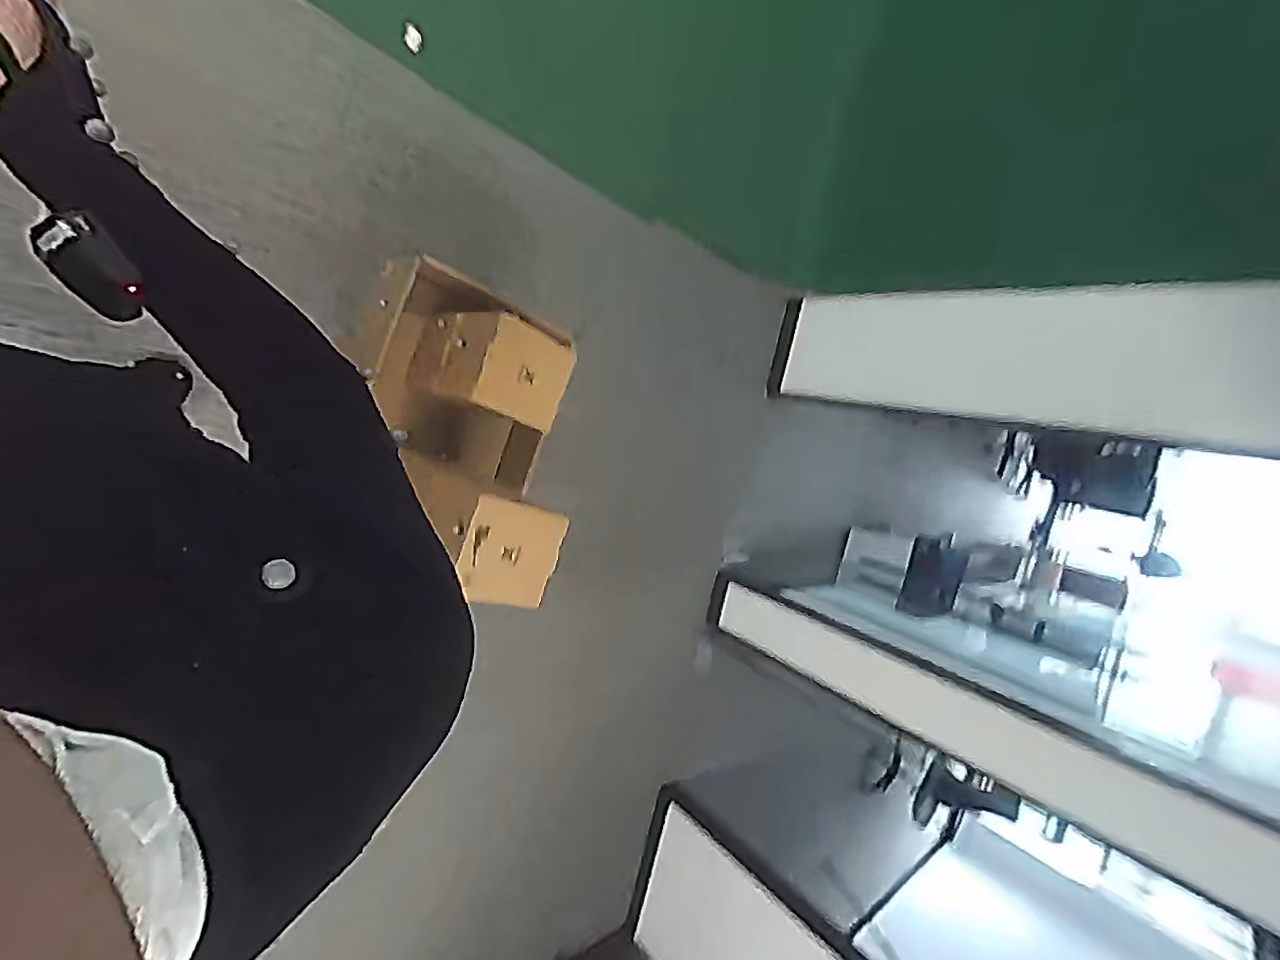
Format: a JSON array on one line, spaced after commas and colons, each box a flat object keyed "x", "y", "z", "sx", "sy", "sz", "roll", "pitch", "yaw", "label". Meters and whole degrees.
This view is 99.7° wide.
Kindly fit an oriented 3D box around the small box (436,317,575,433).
[{"x": -0.264, "y": -0.209, "z": 1.058, "sx": 0.179, "sy": 0.176, "sz": 0.168, "roll": 22, "pitch": 88, "yaw": -43, "label": "small box"}]

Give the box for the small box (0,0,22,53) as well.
[{"x": -0.540, "y": -0.445, "z": 0.353, "sx": 0.168, "sy": 0.176, "sz": 0.179, "roll": -1, "pitch": 96, "yaw": -43, "label": "small box"}]

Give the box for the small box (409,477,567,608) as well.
[{"x": -0.263, "y": 0.104, "z": 0.928, "sx": 0.179, "sy": 0.176, "sz": 0.168, "roll": 22, "pitch": 87, "yaw": -44, "label": "small box"}]

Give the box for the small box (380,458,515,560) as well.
[{"x": -0.369, "y": 0.066, "z": 1.047, "sx": 0.179, "sy": 0.176, "sz": 0.168, "roll": 22, "pitch": 87, "yaw": -43, "label": "small box"}]

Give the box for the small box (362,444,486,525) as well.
[{"x": -0.472, "y": 0.031, "z": 1.168, "sx": 0.179, "sy": 0.176, "sz": 0.168, "roll": 23, "pitch": 88, "yaw": -44, "label": "small box"}]
